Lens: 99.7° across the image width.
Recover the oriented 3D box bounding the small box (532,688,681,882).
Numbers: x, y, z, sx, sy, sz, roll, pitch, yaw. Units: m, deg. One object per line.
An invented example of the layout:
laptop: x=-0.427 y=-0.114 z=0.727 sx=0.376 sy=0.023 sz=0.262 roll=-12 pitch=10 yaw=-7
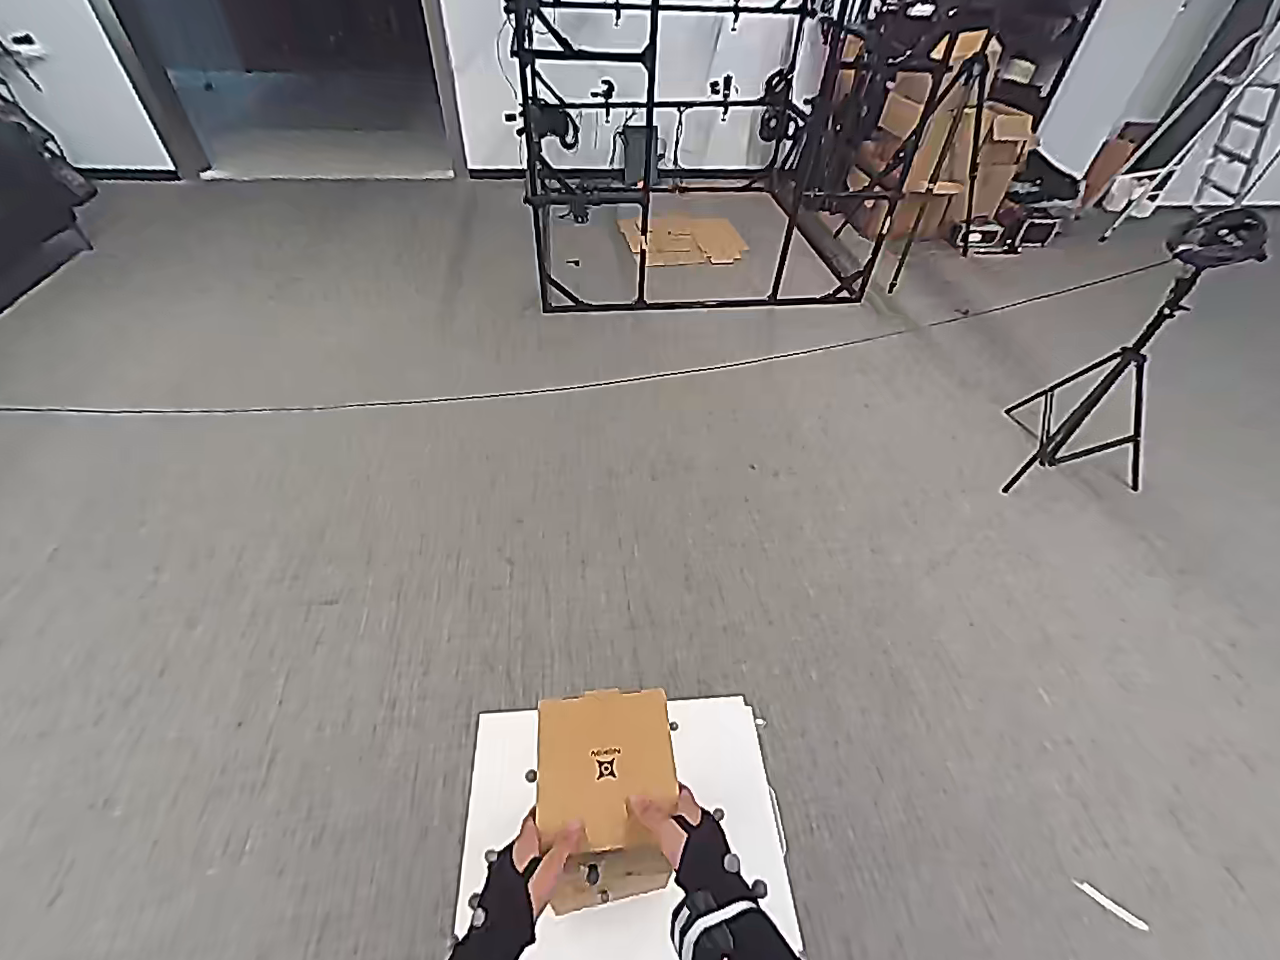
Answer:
small box: x=-0.045 y=0.394 z=0.696 sx=0.168 sy=0.176 sz=0.179 roll=-2 pitch=43 yaw=-6

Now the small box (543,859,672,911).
small box: x=-0.058 y=0.534 z=0.829 sx=0.179 sy=0.176 sz=0.168 roll=-6 pitch=46 yaw=-11
